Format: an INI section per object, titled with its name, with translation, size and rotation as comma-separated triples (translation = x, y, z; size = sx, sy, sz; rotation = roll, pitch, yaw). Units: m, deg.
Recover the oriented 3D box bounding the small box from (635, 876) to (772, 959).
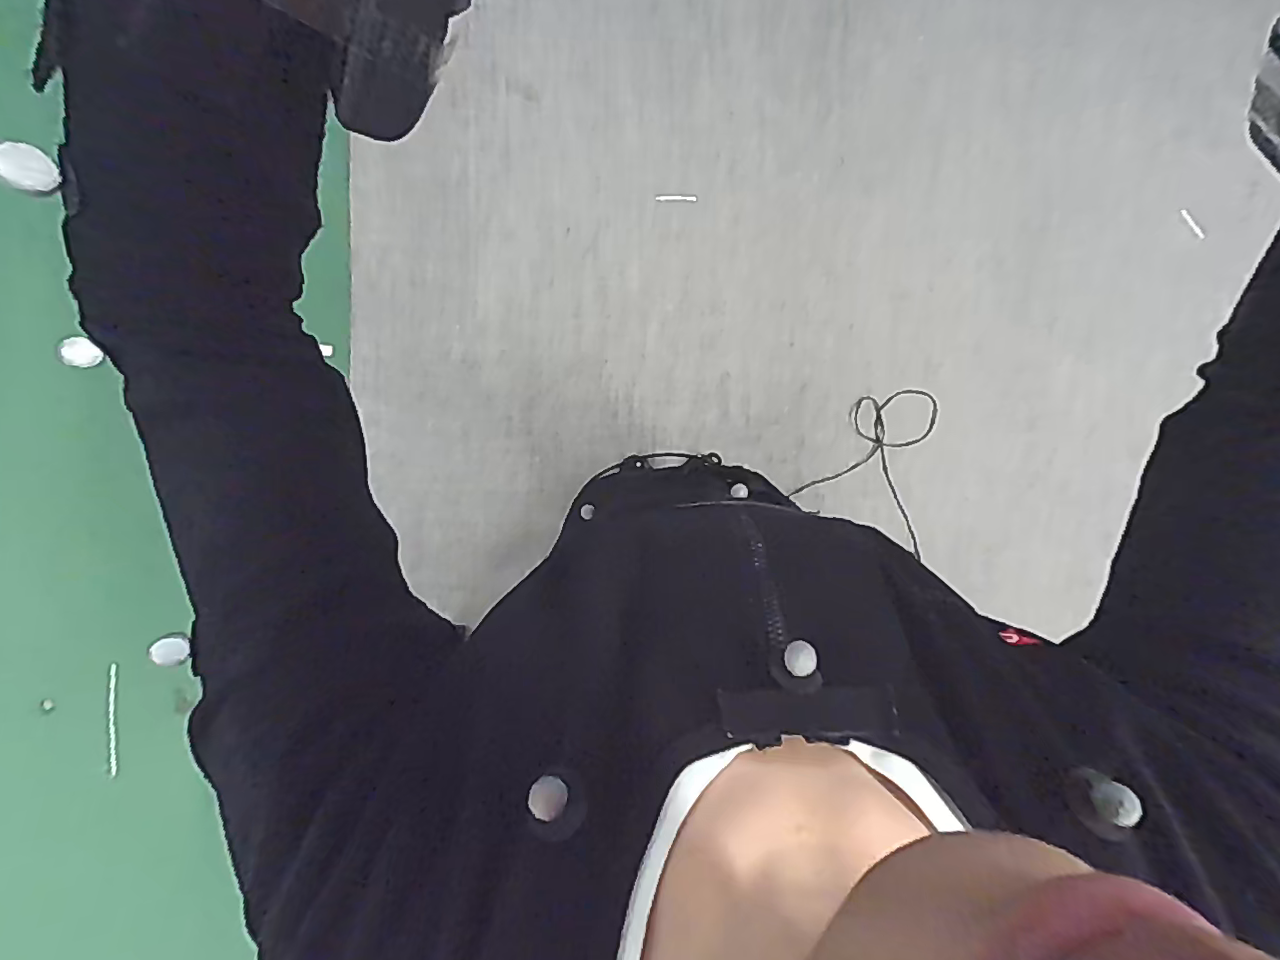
[small box]
translation = 0.079, 0.663, 0.694
size = 0.168, 0.176, 0.179
rotation = 6, 92, -1
